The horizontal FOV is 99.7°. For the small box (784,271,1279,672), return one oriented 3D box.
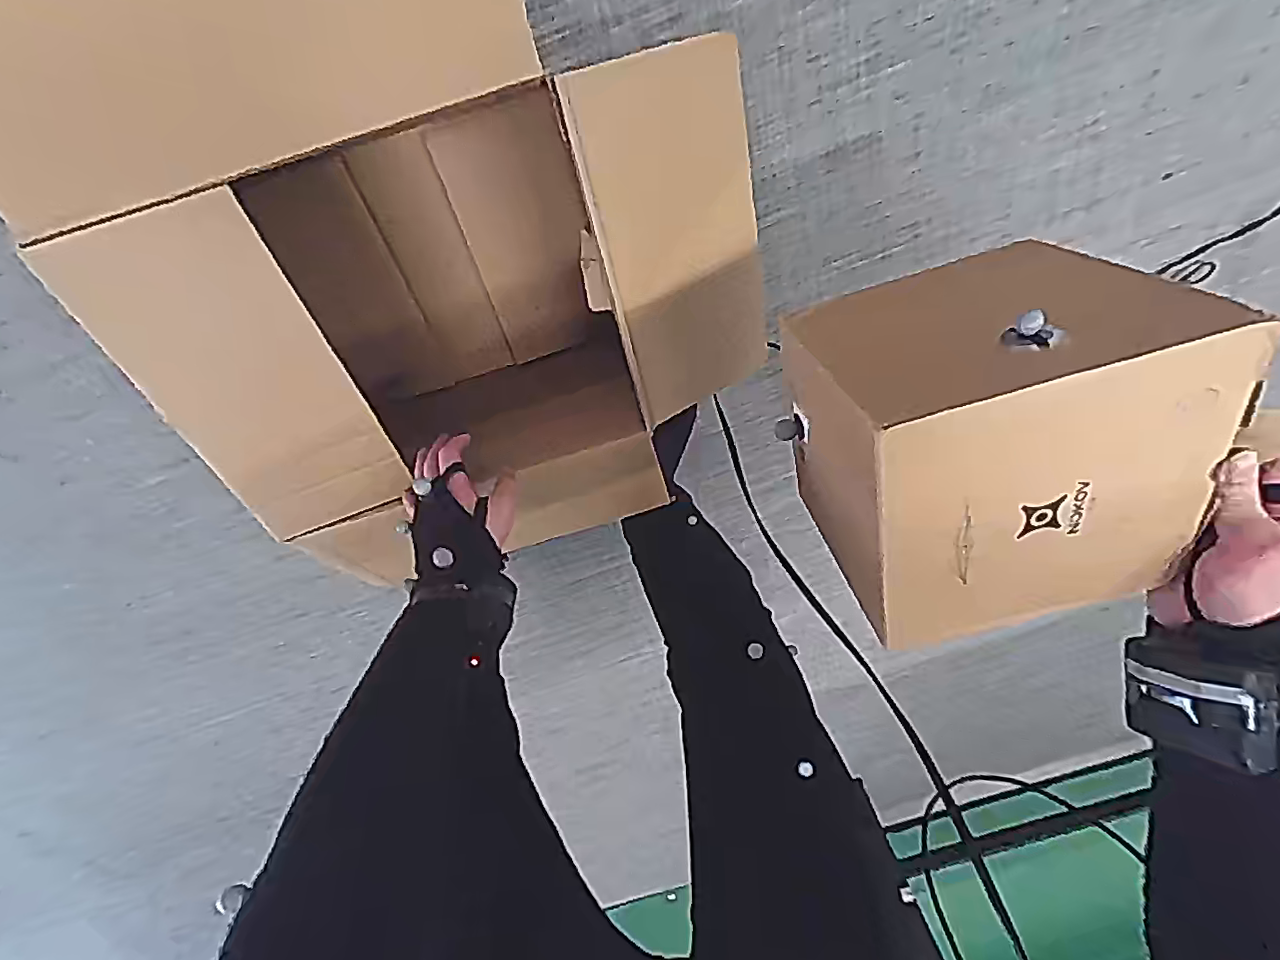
[{"bbox_3d":[0.205,-0.016,0.336,0.179,0.176,0.168,-13,121,4],"label":"small box"}]
